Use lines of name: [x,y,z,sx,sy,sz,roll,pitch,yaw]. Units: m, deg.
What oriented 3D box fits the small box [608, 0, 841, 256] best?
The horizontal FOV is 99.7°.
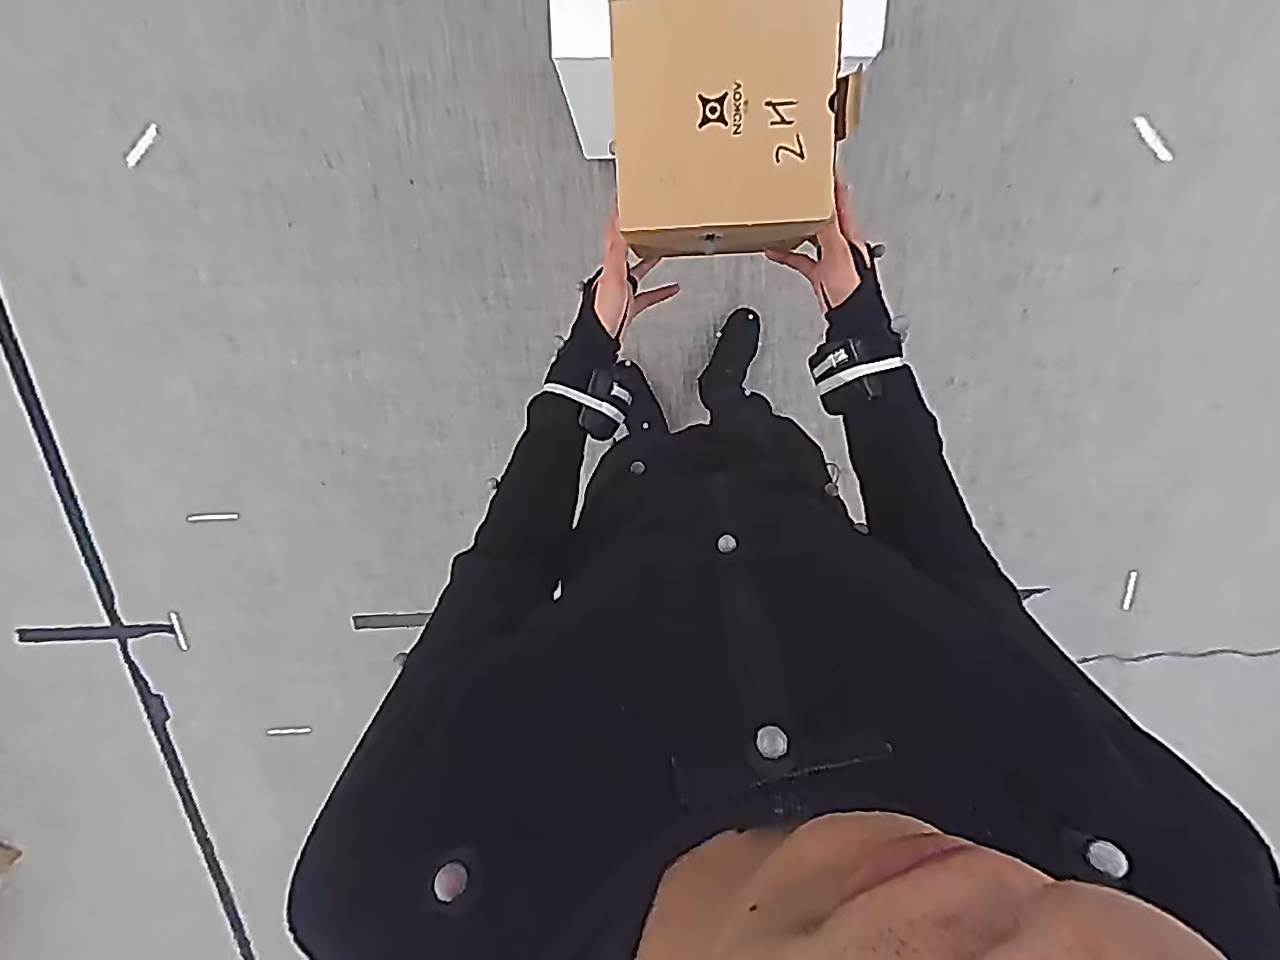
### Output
small box: [0.072,-0.309,0.501,0.179,0.176,0.168,-1,105,5]
